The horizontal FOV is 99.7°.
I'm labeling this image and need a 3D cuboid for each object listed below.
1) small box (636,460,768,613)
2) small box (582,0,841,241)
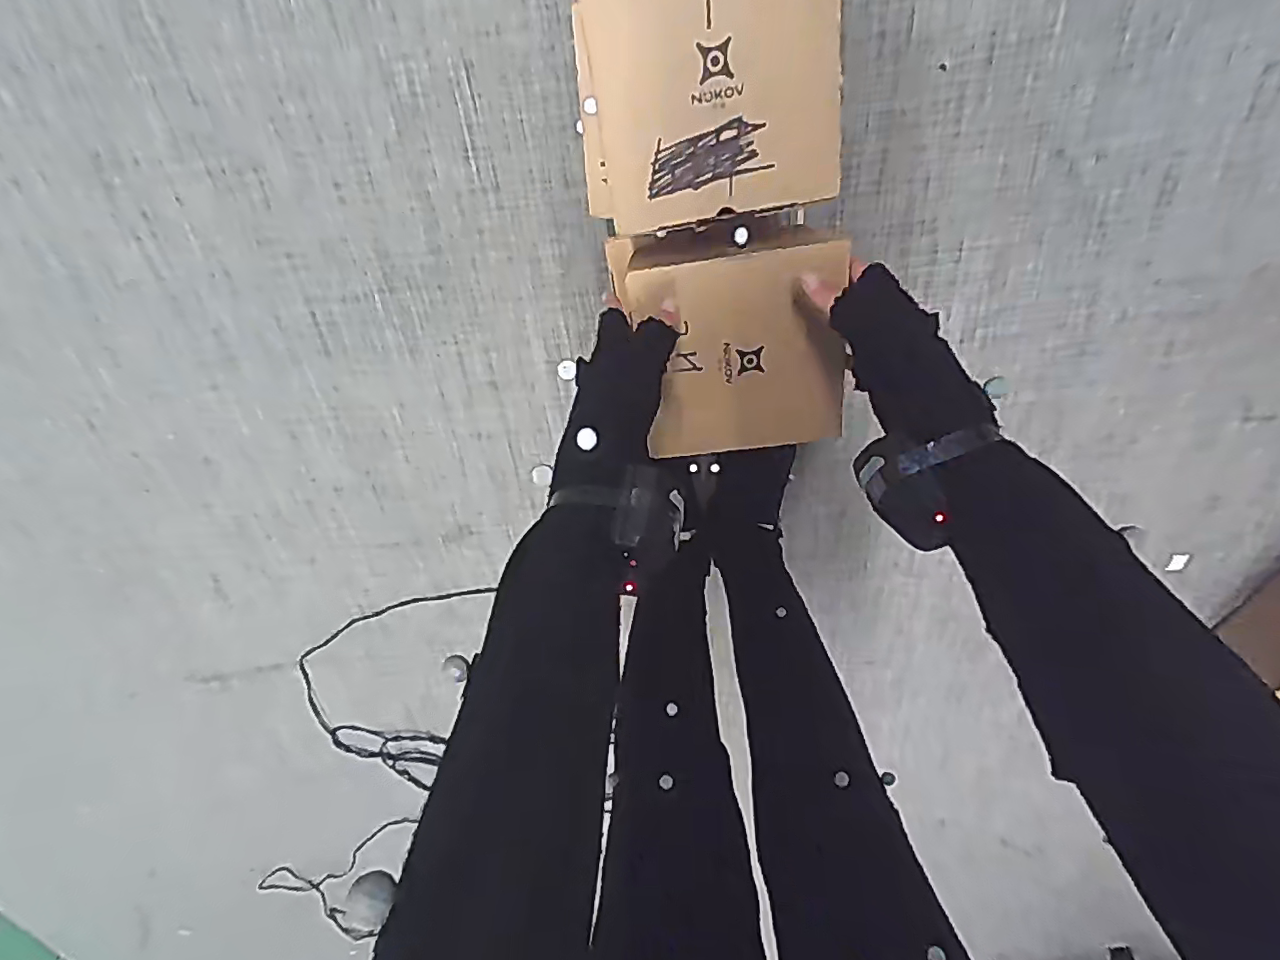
[{"bbox_3d":[0.087,0.085,0.860,0.168,0.176,0.179,-4,121,-8],"label":"small box"},{"bbox_3d":[0.053,-0.302,0.435,0.168,0.176,0.179,-6,116,5],"label":"small box"}]
